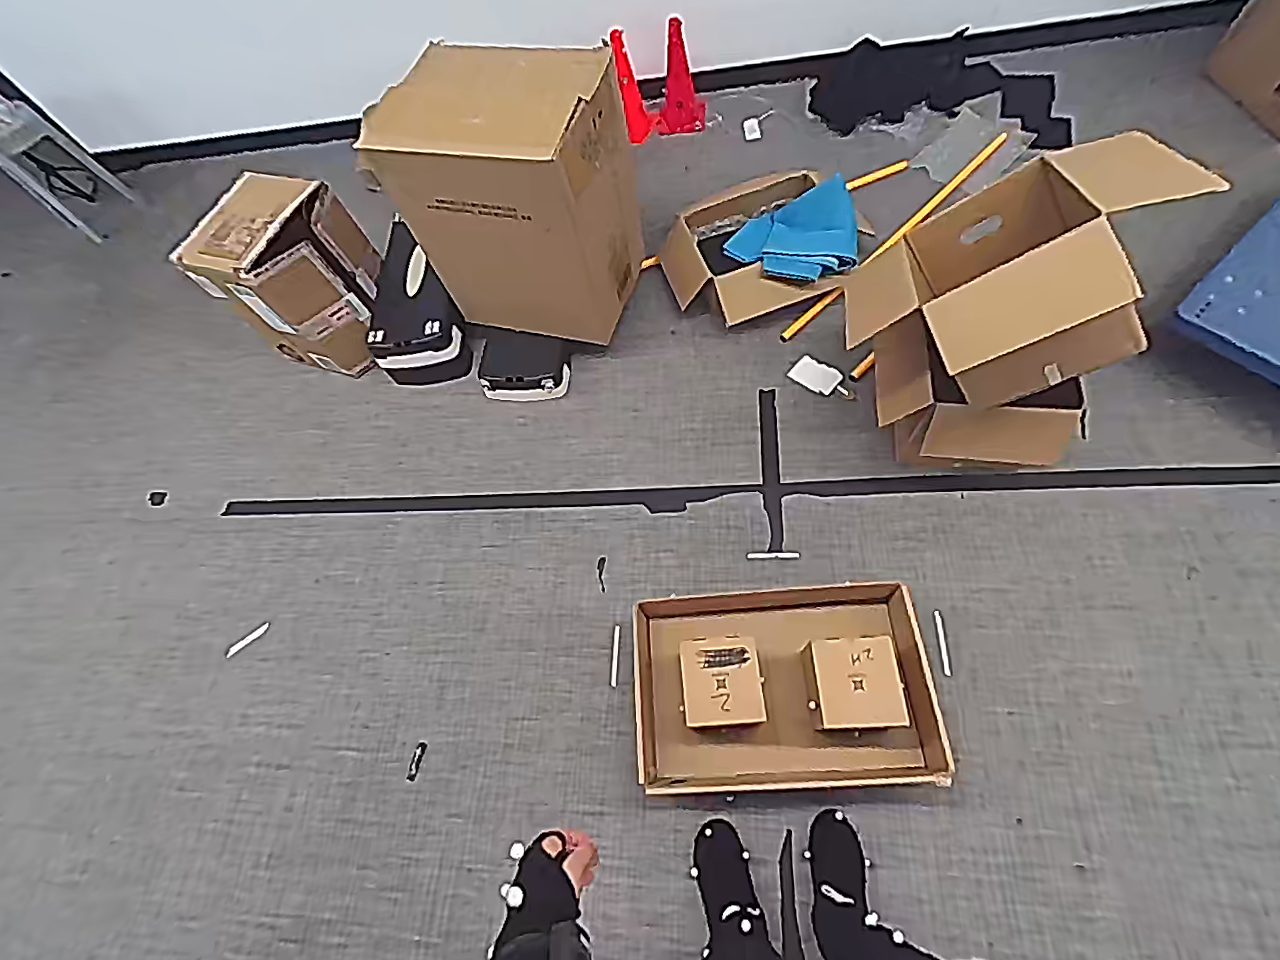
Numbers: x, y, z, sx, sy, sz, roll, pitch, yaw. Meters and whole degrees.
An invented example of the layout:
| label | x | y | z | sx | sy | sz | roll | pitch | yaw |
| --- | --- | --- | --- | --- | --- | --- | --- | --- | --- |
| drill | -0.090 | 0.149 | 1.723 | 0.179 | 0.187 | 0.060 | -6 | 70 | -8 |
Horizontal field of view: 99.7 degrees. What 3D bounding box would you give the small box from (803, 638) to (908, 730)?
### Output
| label | x | y | z | sx | sy | sz | roll | pitch | yaw |
| --- | --- | --- | --- | --- | --- | --- | --- | --- | --- |
| small box | 0.457 | 0.447 | 1.174 | 0.168 | 0.176 | 0.179 | -4 | 63 | 7 |
